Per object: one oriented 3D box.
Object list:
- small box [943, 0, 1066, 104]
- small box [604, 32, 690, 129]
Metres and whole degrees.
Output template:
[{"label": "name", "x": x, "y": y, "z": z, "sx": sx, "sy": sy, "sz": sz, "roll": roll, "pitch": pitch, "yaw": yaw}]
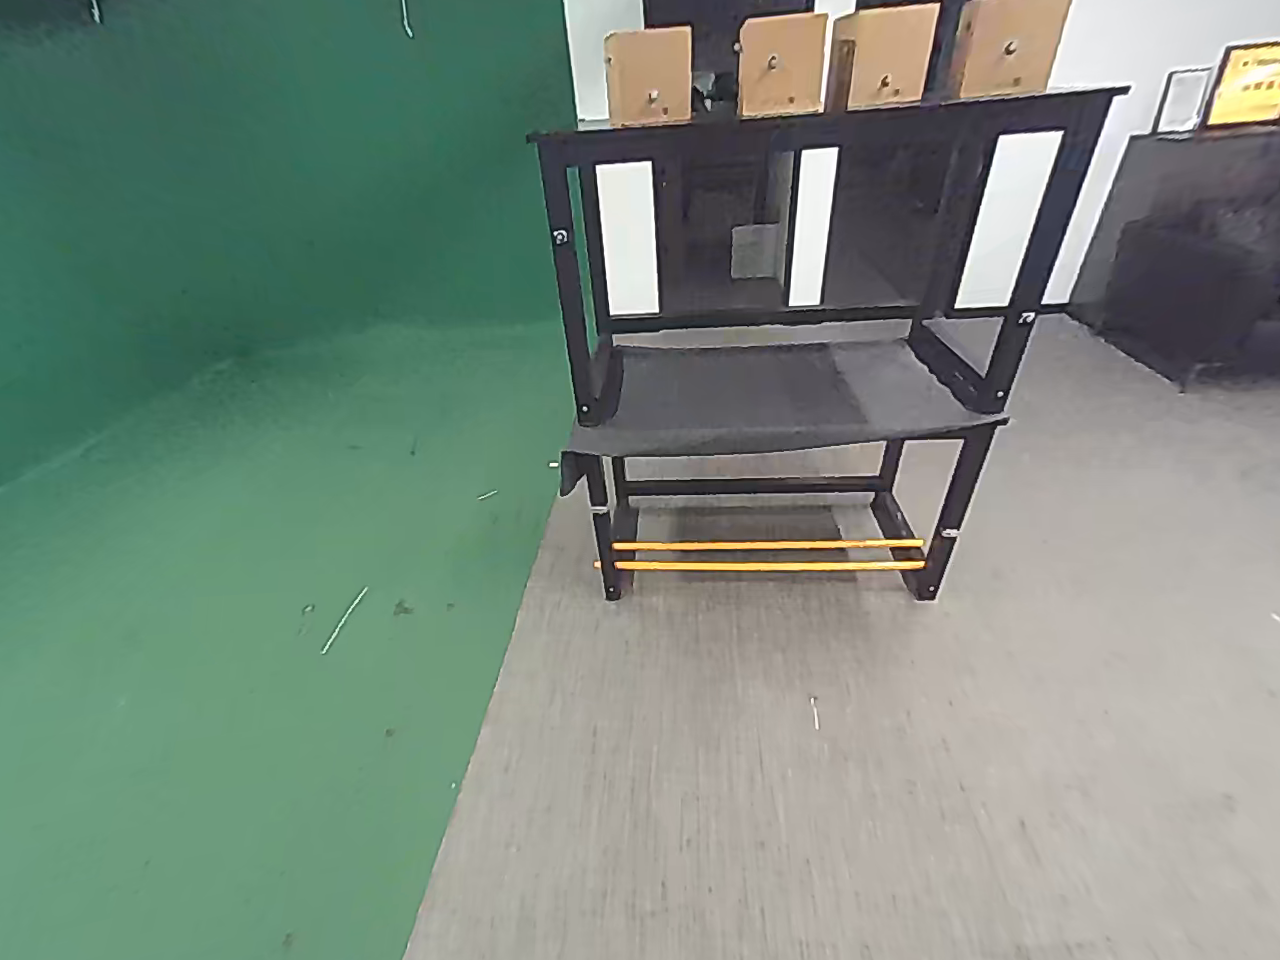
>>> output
[{"label": "small box", "x": 0.776, "y": -0.923, "z": 1.169, "sx": 0.168, "sy": 0.176, "sz": 0.179, "roll": 6, "pitch": 36, "yaw": 14}, {"label": "small box", "x": 0.014, "y": -0.920, "z": 1.253, "sx": 0.168, "sy": 0.176, "sz": 0.179, "roll": -10, "pitch": 37, "yaw": -7}]
